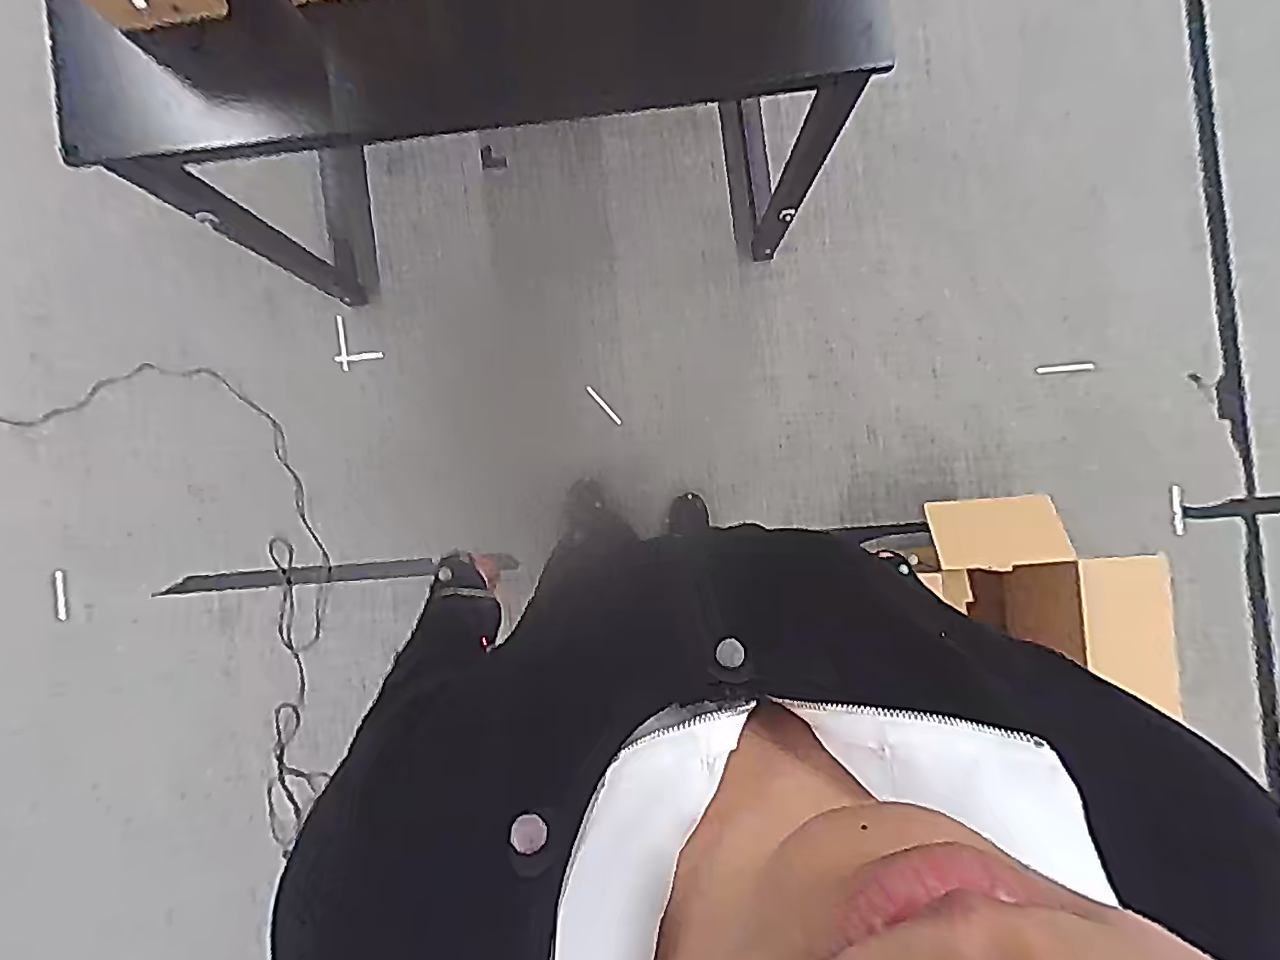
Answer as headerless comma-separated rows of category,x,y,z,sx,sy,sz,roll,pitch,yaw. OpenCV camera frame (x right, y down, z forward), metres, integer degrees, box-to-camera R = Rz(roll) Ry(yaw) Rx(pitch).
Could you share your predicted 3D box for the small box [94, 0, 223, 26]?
small box,-0.690,-0.749,0.700,0.168,0.176,0.179,-8,91,1
